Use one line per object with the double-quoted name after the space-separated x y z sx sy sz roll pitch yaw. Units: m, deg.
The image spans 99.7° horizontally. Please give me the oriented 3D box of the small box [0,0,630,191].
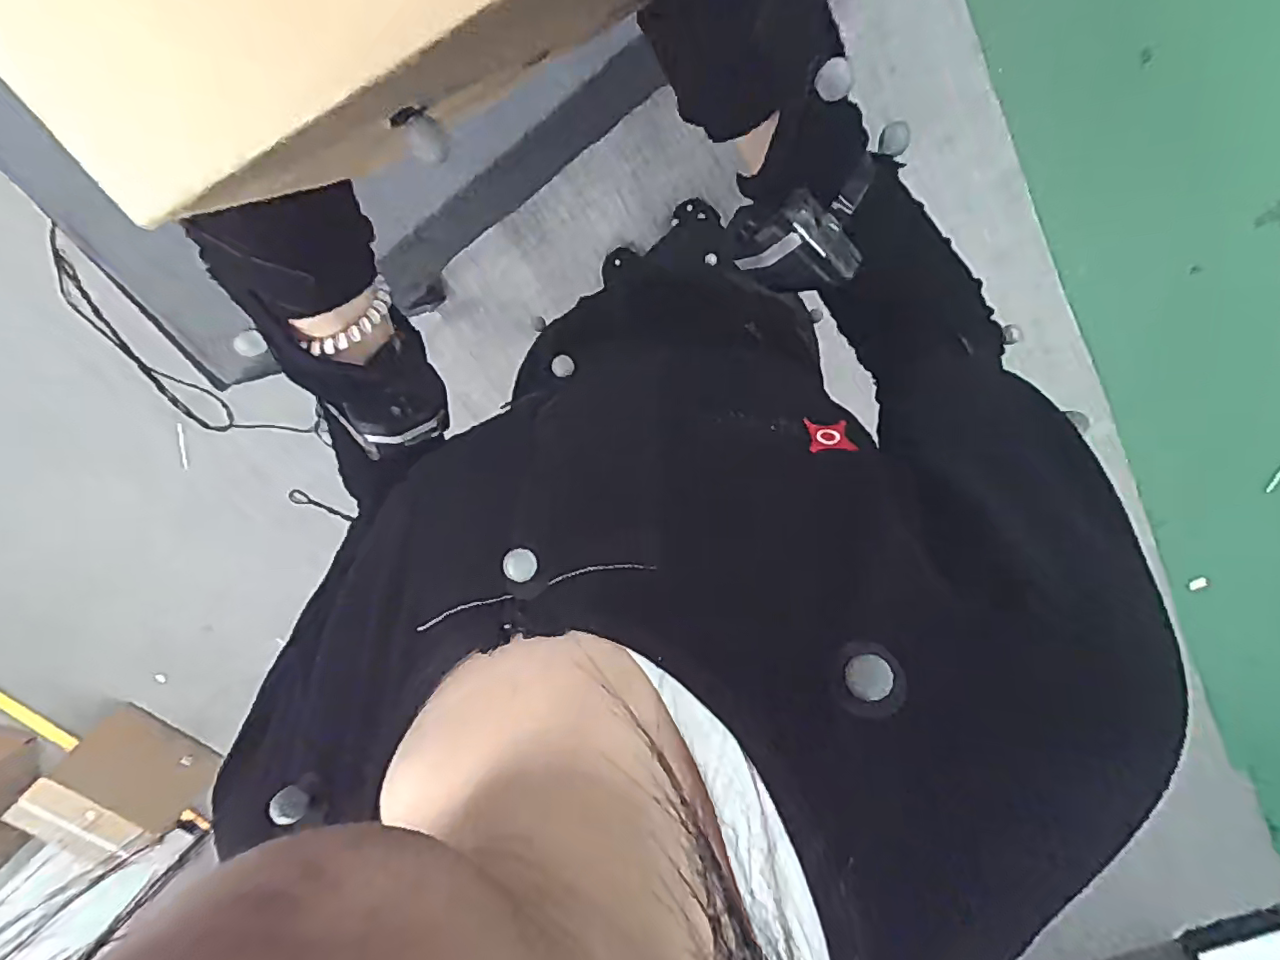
-0.096 -0.213 0.150 0.168 0.176 0.179 -23 121 11 "small box"
